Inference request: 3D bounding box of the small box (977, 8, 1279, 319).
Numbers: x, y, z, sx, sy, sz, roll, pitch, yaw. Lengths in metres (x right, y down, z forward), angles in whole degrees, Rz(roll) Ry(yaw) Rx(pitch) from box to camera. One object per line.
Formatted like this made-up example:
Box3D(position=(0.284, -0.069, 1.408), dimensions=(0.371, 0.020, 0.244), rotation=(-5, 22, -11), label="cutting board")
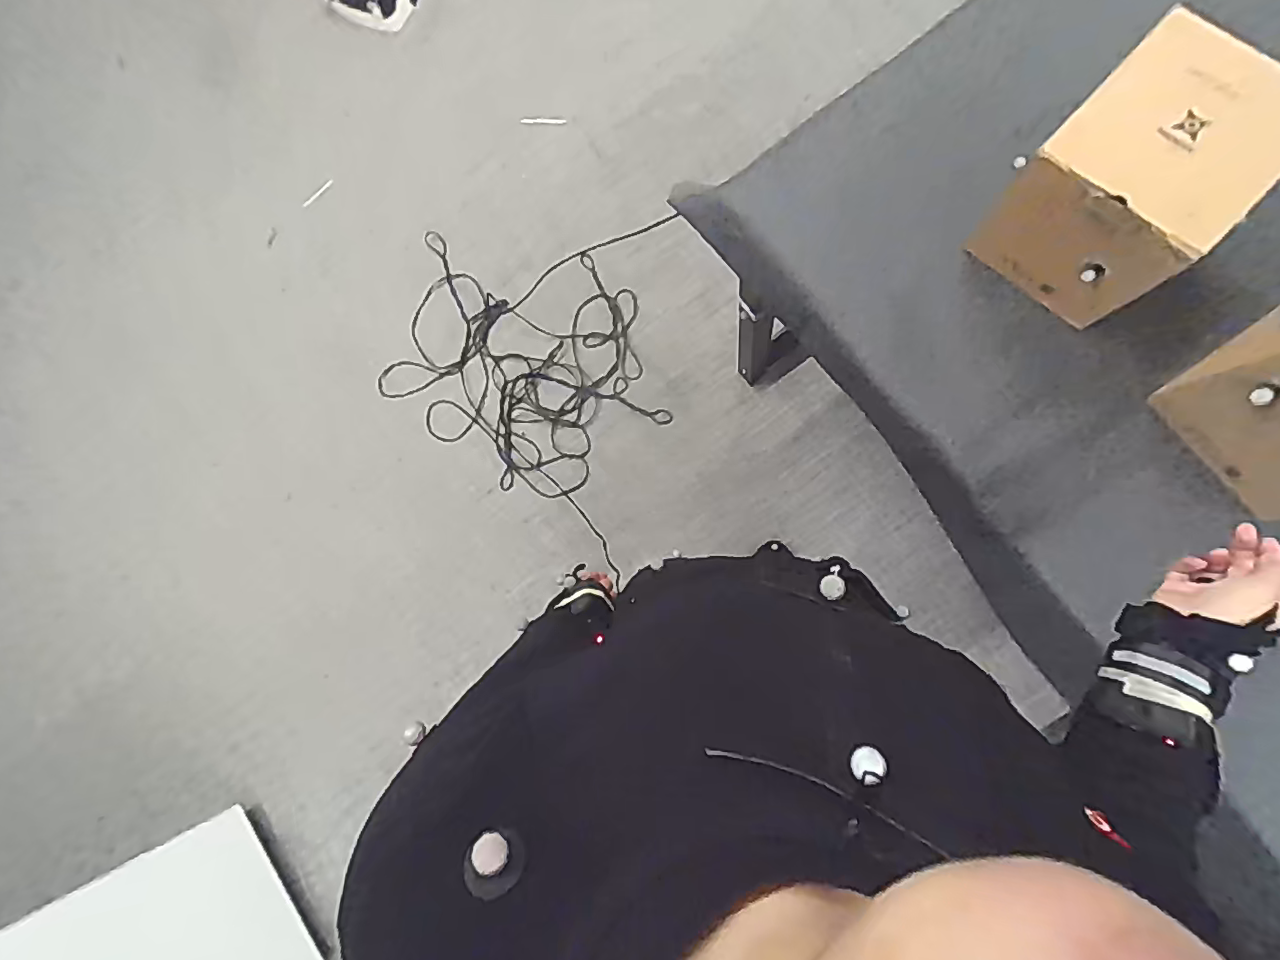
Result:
Box3D(position=(0.488, -0.299, 0.551), dimensions=(0.168, 0.176, 0.179), rotation=(43, 91, 10), label="small box")
